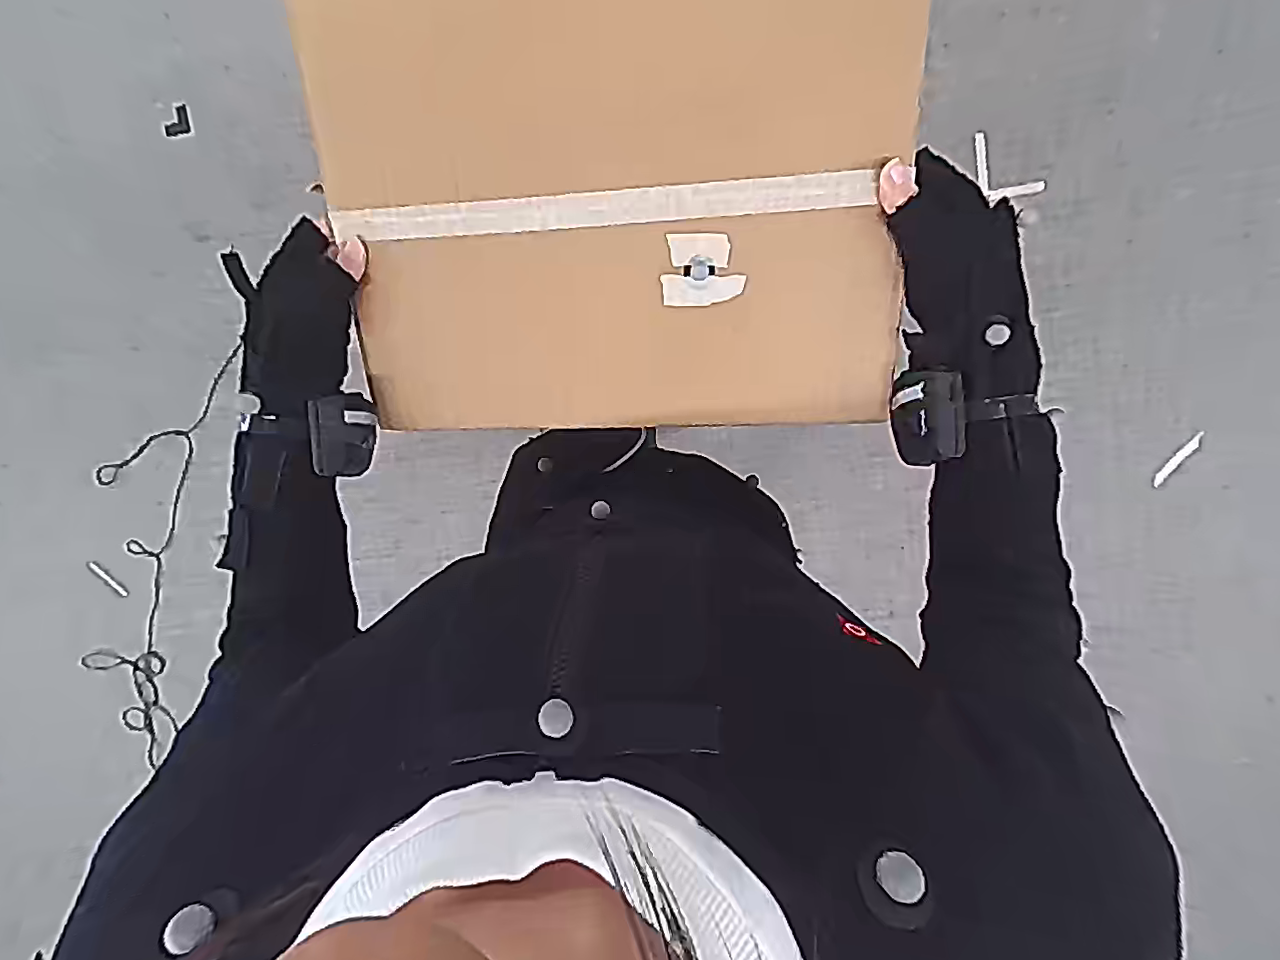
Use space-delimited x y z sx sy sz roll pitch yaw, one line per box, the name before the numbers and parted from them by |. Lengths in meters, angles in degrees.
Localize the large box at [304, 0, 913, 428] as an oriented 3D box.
large box | -0.008 -0.245 0.527 0.408 0.320 0.320 -2 110 7
